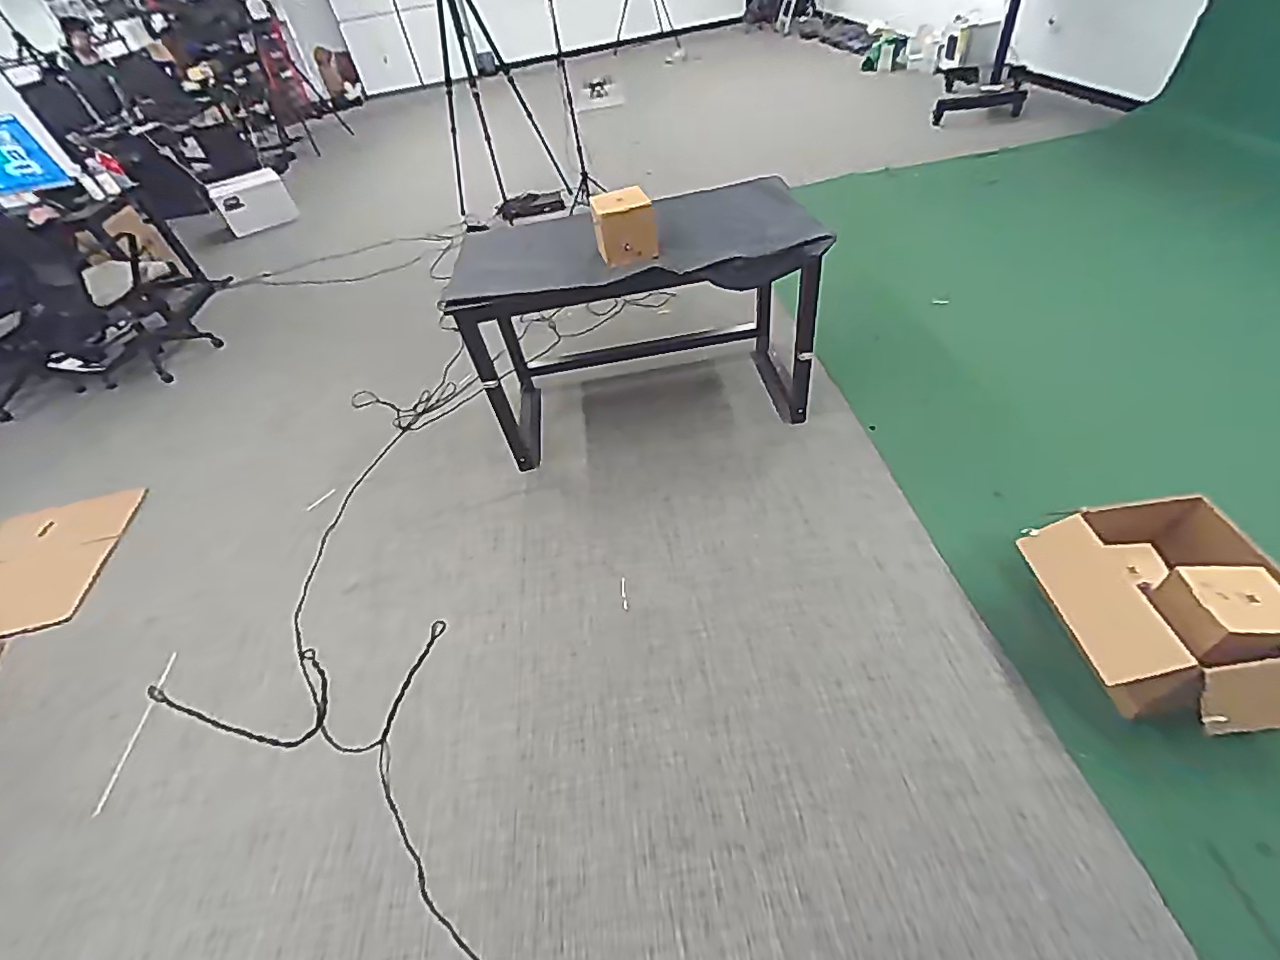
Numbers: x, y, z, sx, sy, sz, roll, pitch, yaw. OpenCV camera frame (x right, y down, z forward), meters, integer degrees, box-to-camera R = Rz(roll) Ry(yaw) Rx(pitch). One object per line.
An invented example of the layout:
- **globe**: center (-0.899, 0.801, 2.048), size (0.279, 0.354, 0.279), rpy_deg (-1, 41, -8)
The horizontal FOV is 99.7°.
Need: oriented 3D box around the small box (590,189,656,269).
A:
- **small box**: center (-0.055, -0.799, 1.724), size (0.168, 0.176, 0.179), rpy_deg (-15, 46, -4)
